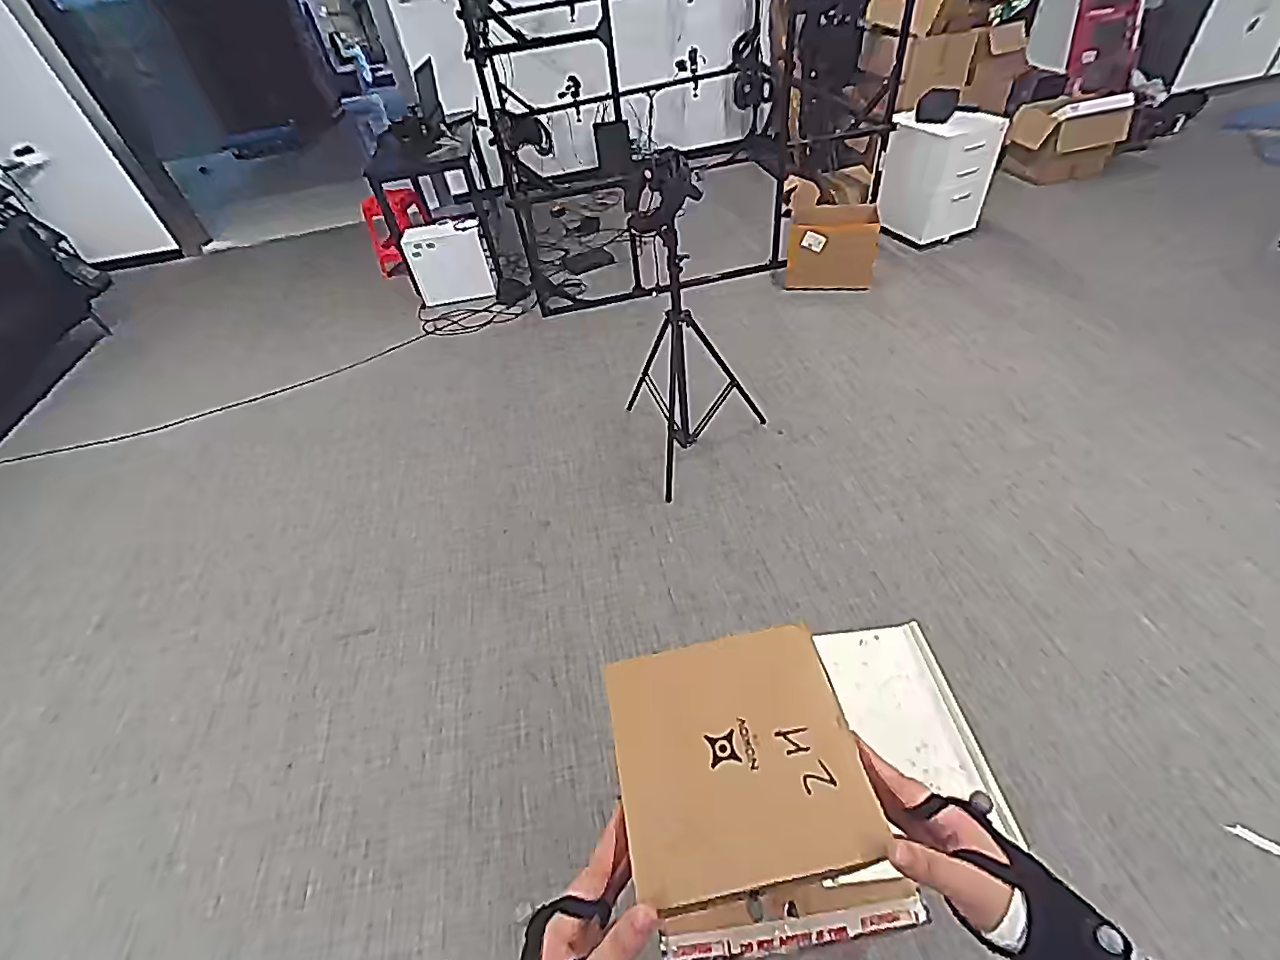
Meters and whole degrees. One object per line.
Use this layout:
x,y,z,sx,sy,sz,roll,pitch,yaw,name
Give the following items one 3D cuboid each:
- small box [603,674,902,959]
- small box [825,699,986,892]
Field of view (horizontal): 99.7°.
0.076,0.283,0.444,0.179,0.176,0.168,-11,50,-2,small box
0.281,0.401,0.679,0.168,0.176,0.179,-6,47,0,small box
